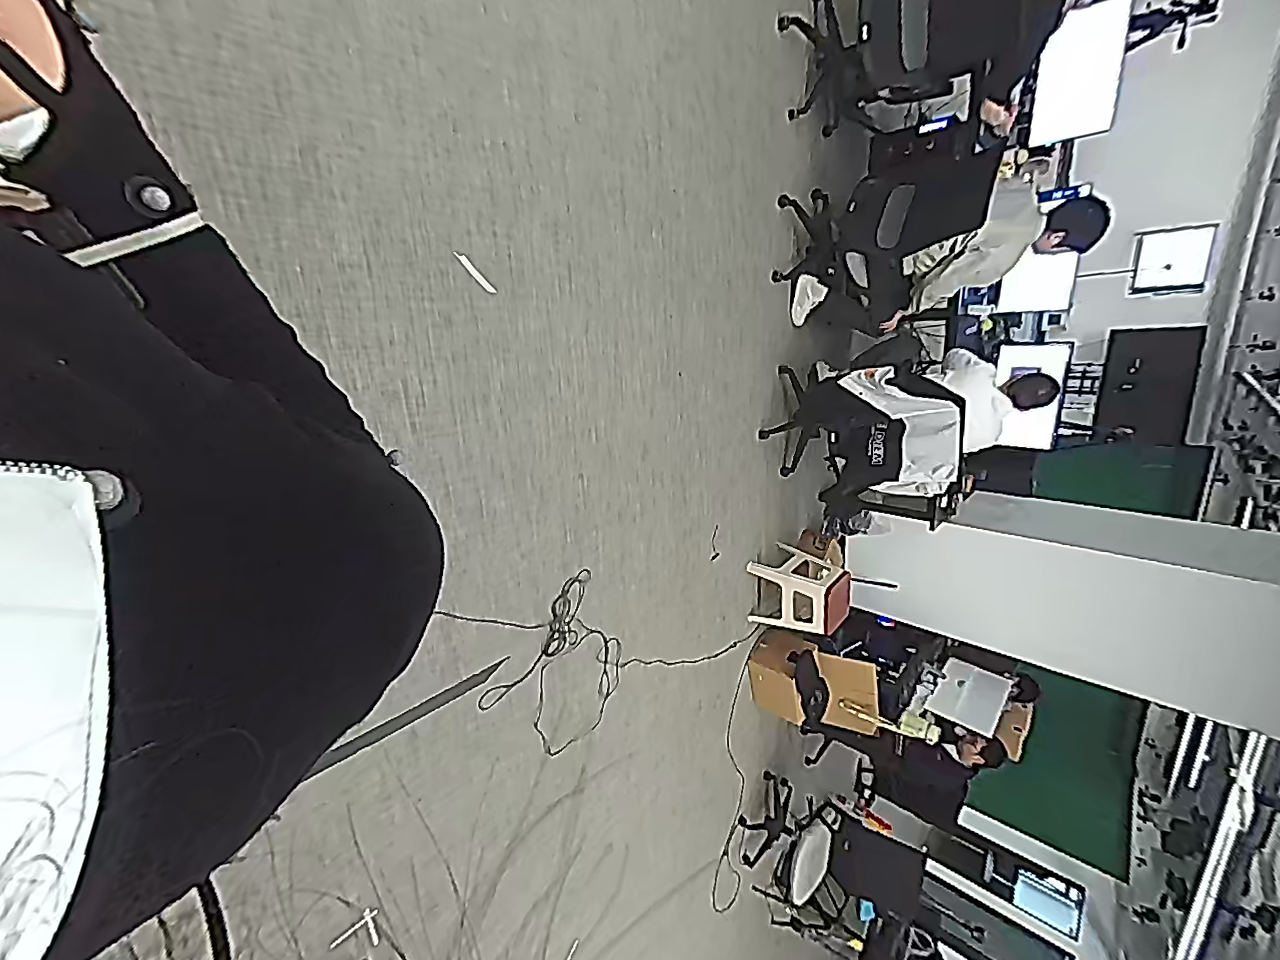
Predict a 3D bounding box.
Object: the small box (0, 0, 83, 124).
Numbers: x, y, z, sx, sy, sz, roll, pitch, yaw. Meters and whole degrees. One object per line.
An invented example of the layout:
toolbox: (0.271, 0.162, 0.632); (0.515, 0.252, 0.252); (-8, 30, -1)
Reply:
small box: (-0.617, -0.435, 0.453); (0.168, 0.176, 0.179); (-20, 114, -47)
